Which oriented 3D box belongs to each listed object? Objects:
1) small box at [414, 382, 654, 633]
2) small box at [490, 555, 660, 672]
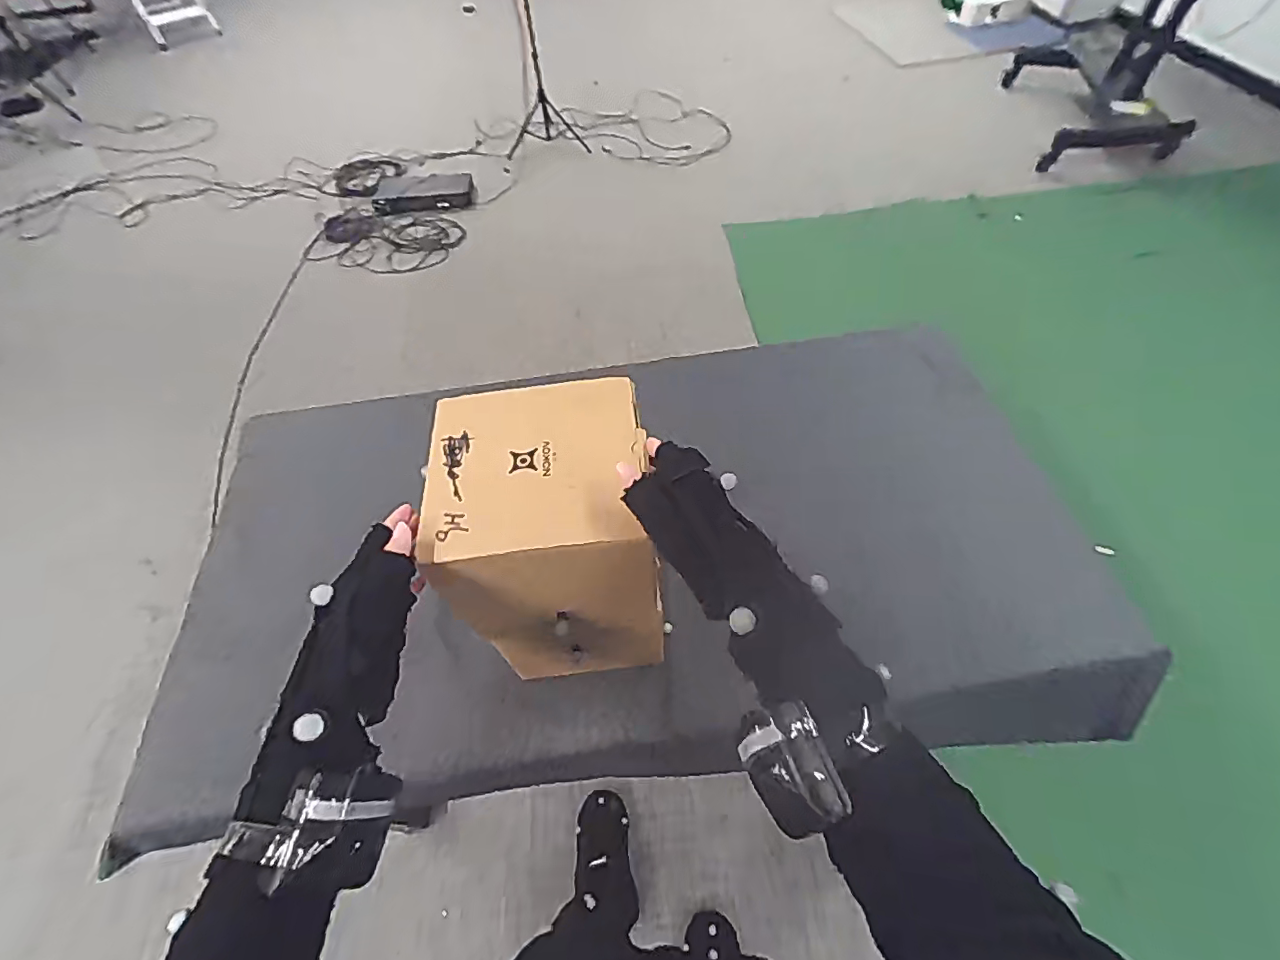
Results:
[{"bbox_3d":[-0.082,0.031,0.503,0.179,0.176,0.168,-5,54,-2],"label":"small box"},{"bbox_3d":[-0.072,0.117,0.642,0.179,0.176,0.168,-7,55,-1],"label":"small box"}]
